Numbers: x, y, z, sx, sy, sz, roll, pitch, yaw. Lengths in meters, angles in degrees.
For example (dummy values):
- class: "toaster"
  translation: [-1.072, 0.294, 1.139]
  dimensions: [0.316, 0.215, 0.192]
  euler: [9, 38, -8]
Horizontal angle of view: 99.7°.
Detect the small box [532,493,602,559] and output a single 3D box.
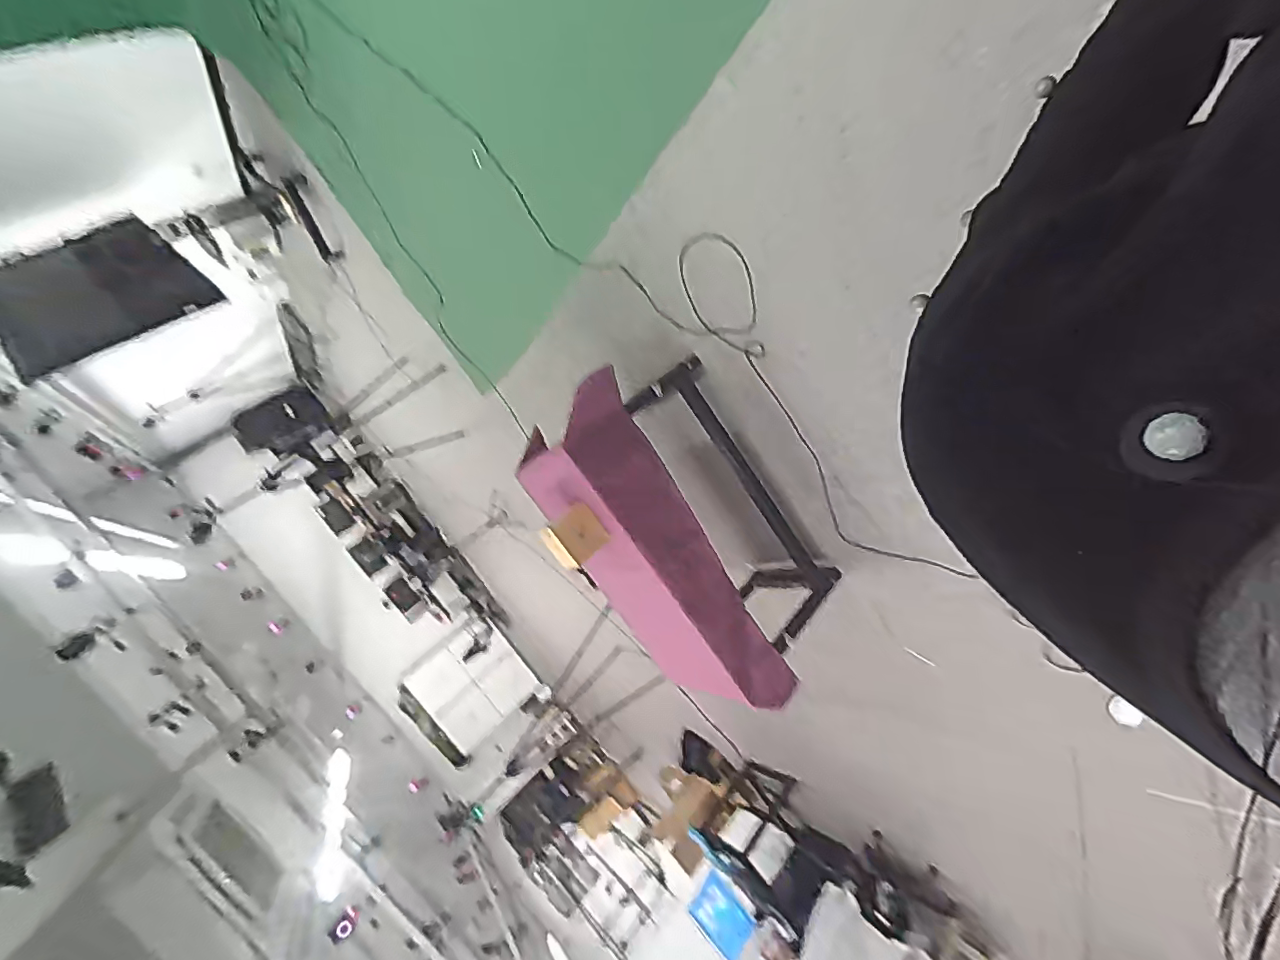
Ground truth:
- class: "small box"
  translation: [-0.271, 0.174, 2.027]
  dimensions: [0.179, 0.176, 0.168]
  euler: [53, 152, -7]
